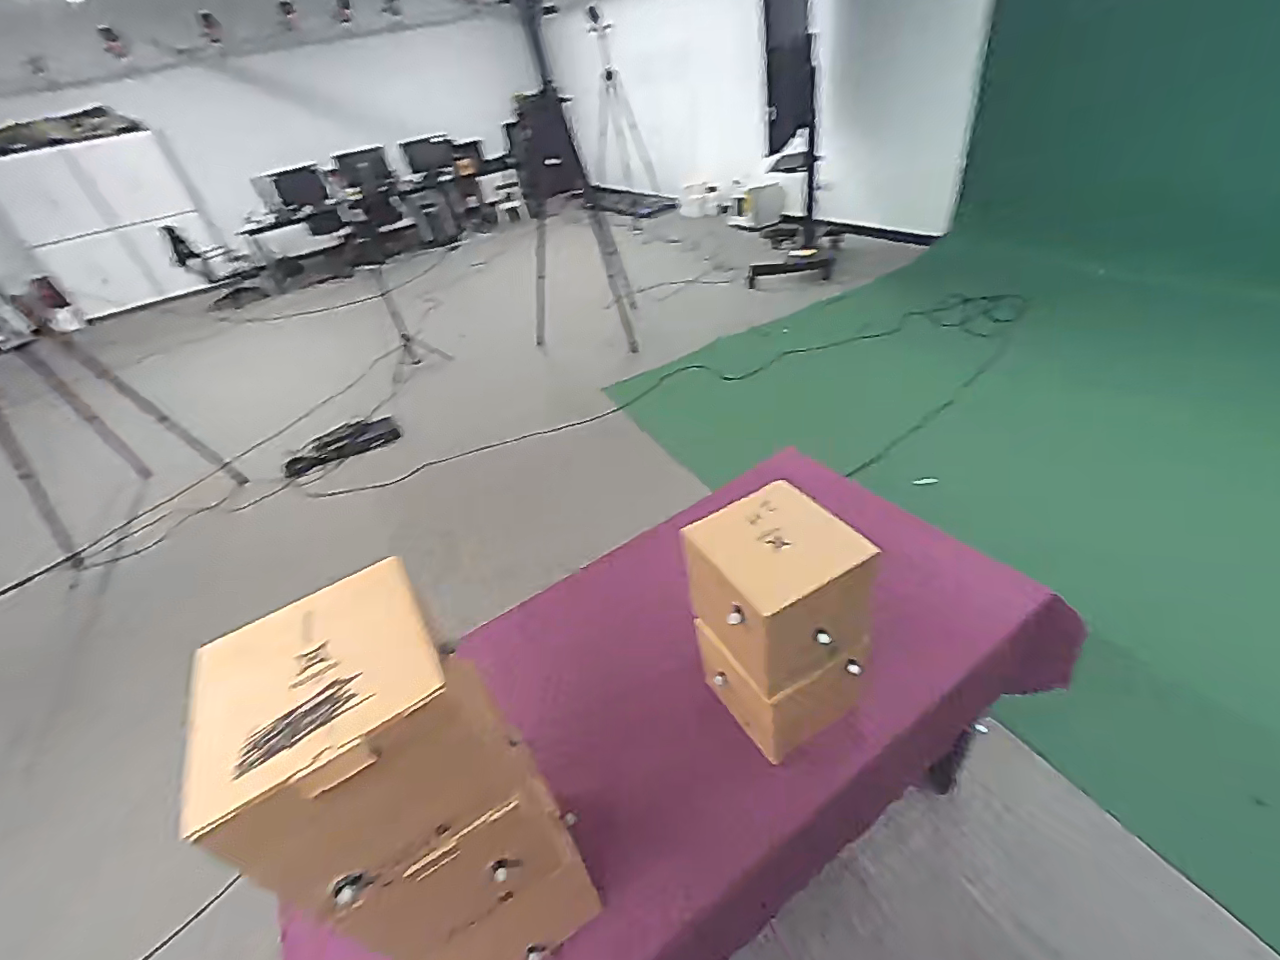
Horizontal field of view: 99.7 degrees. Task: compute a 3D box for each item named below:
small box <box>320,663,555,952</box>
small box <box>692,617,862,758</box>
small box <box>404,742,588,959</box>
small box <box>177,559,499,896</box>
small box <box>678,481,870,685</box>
[{"bbox_3d":[-0.205,0.336,0.557,0.168,0.176,0.179,-25,38,-18],"label":"small box"},{"bbox_3d":[0.202,0.269,0.802,0.179,0.176,0.168,-26,39,-18],"label":"small box"},{"bbox_3d":[-0.176,0.466,0.650,0.179,0.176,0.168,-26,39,-19],"label":"small box"},{"bbox_3d":[-0.241,0.207,0.460,0.168,0.176,0.179,-27,38,-20],"label":"small box"},{"bbox_3d":[0.170,0.137,0.707,0.168,0.176,0.179,-24,38,-16],"label":"small box"}]
